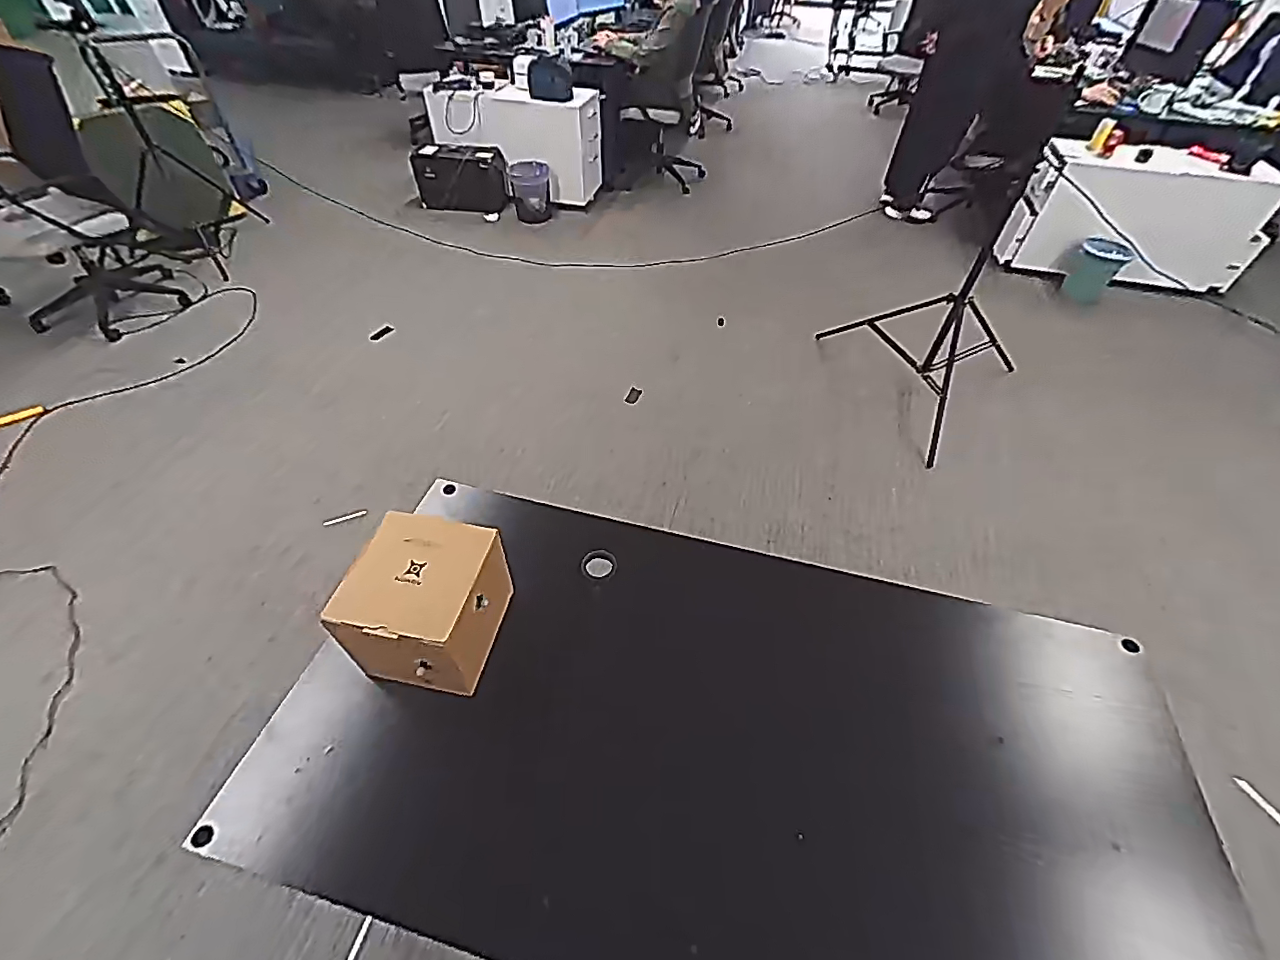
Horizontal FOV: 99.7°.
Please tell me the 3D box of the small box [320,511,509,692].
[{"bbox_3d":[-0.293,0.172,0.753,0.168,0.176,0.179,10,48,5],"label":"small box"}]
